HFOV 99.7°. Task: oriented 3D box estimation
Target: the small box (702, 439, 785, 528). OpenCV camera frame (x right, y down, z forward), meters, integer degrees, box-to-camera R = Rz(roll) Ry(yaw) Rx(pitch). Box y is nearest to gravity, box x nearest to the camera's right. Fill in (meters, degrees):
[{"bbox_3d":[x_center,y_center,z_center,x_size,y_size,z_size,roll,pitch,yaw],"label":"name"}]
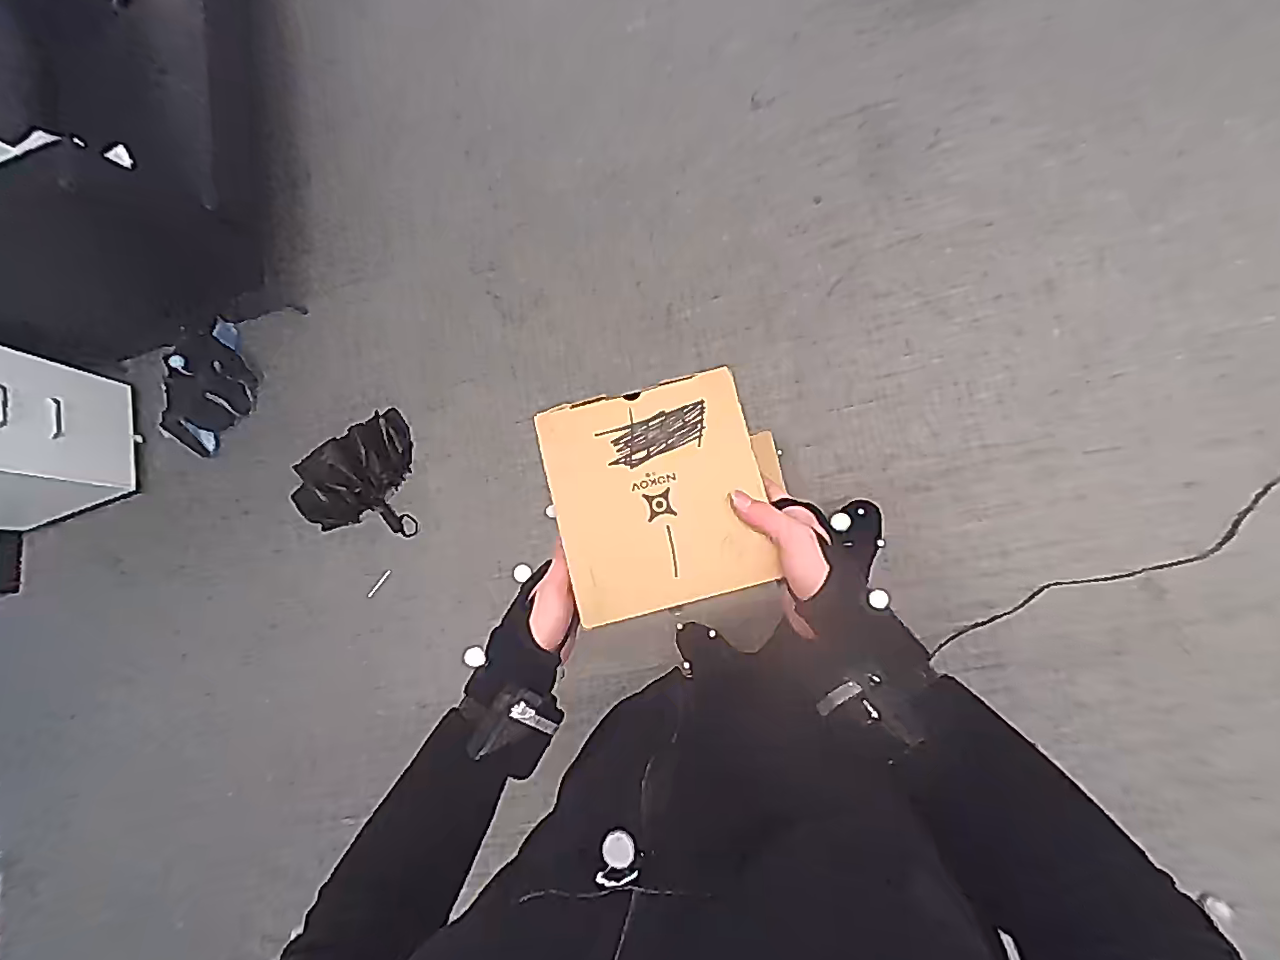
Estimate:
[{"bbox_3d":[0.258,0.015,1.350,0.168,0.176,0.179,-14,78,12],"label":"small box"}]
